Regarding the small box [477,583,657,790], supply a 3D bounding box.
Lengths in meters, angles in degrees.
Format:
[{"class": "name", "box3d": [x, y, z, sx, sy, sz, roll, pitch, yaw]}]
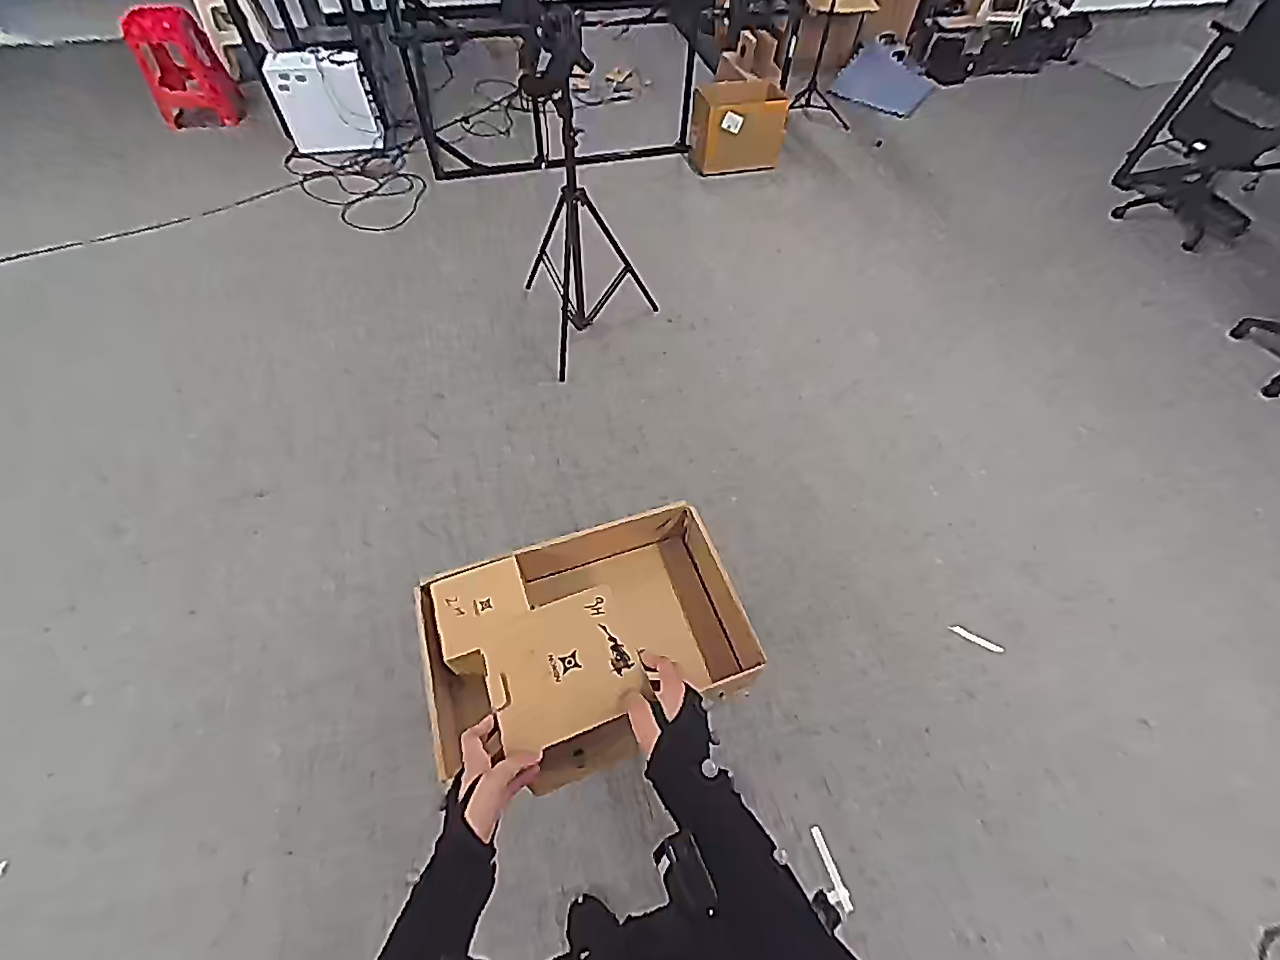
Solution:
[{"class": "small box", "box3d": [-0.087, 0.268, 0.693, 0.179, 0.176, 0.168, -19, 51, -12]}]

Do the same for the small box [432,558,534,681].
[{"class": "small box", "box3d": [-0.305, 0.290, 1.111, 0.179, 0.176, 0.168, -17, 58, -12]}]
